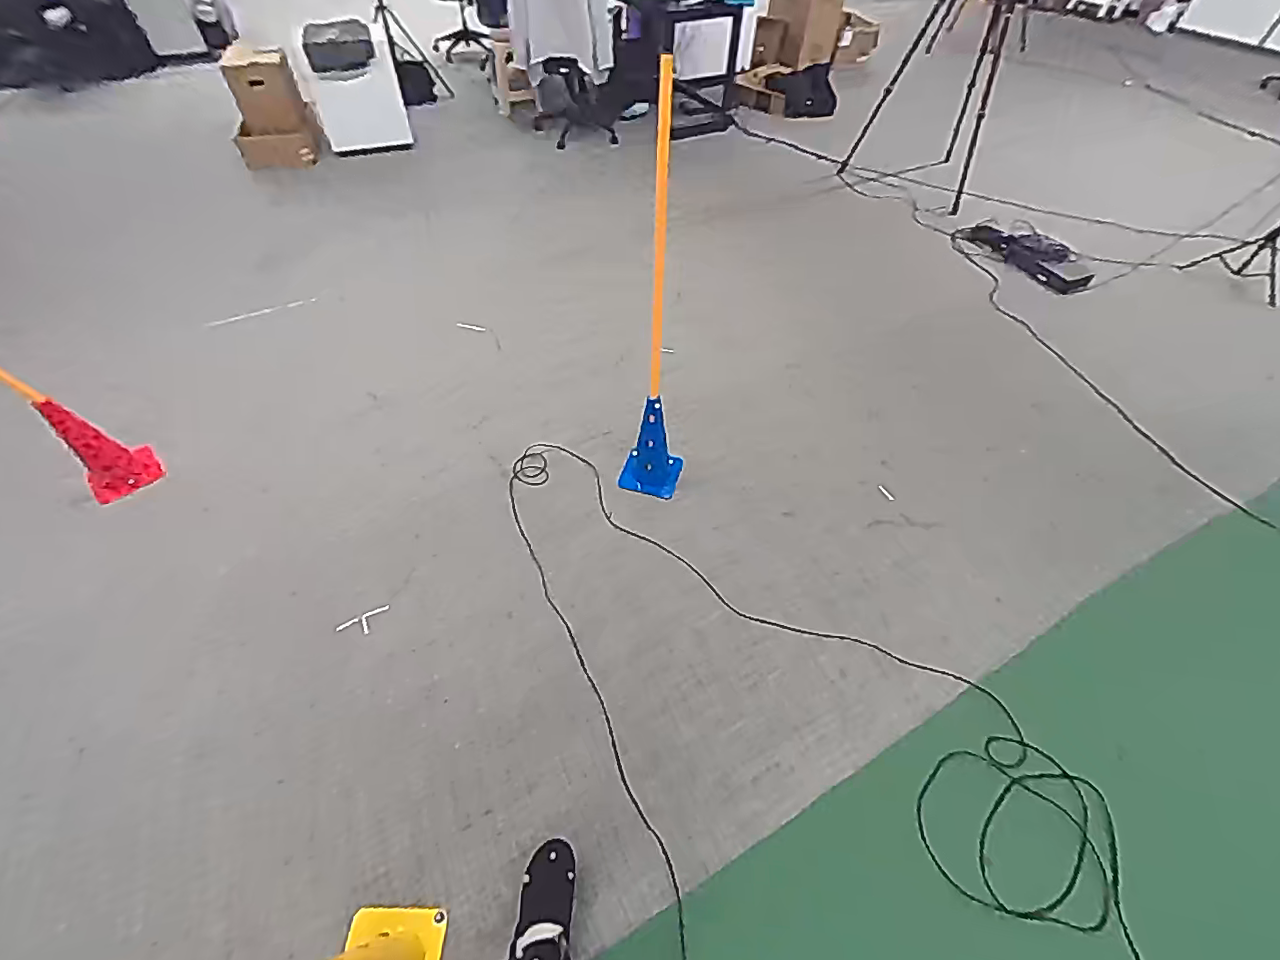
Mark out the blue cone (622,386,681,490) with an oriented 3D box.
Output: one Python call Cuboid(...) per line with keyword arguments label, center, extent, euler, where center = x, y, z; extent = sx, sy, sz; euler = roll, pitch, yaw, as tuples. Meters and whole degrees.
Cuboid(label="blue cone", center=(0.045, -0.155, 1.801), extent=(0.192, 0.380, 0.193), euler=(13, 49, 10))
